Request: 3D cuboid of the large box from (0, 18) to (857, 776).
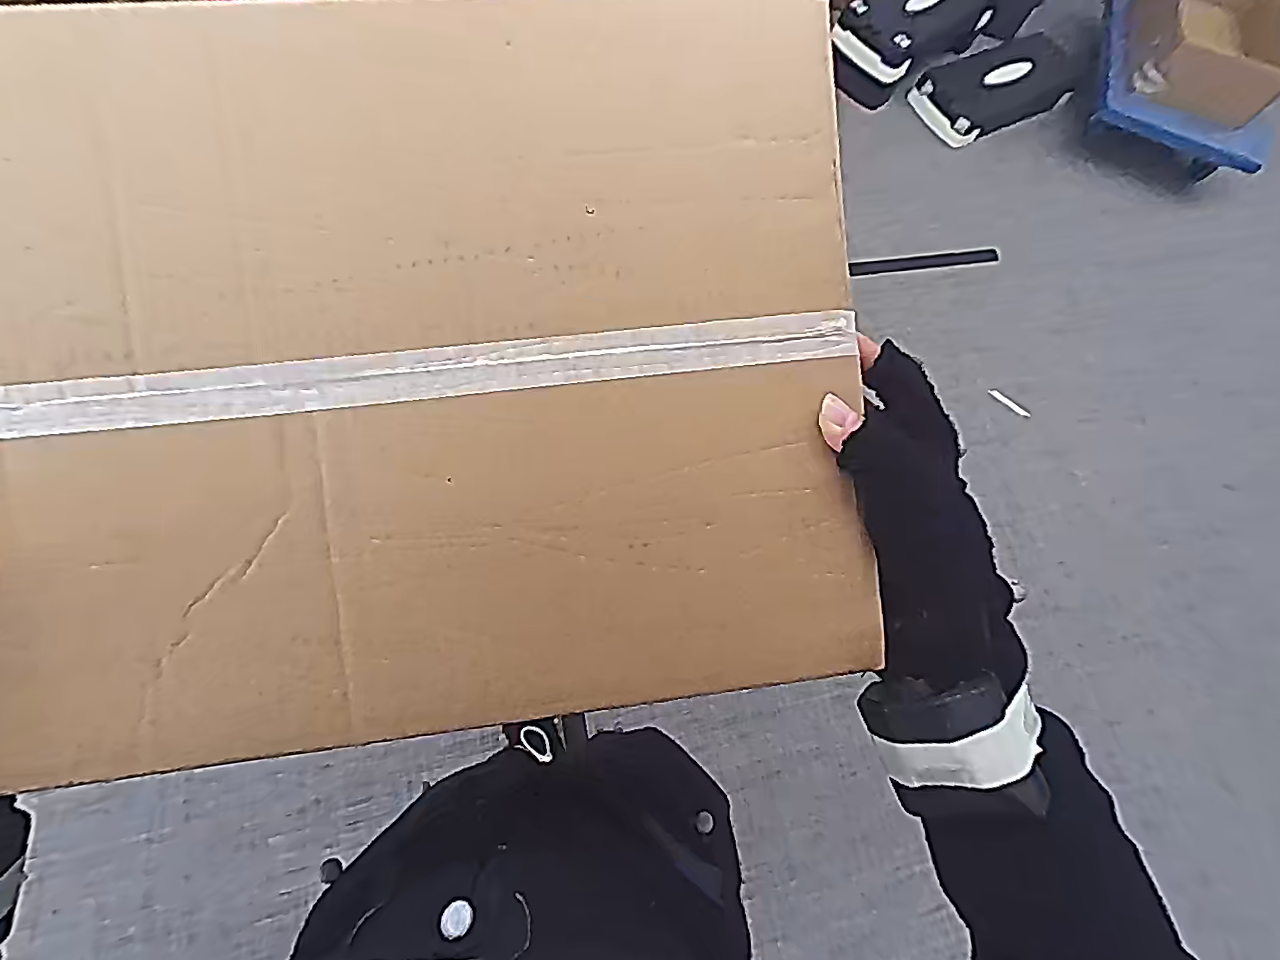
[{"bbox_3d":[-0.115,-0.050,0.393,0.408,0.320,0.320,-6,92,-5],"label":"large box"}]
